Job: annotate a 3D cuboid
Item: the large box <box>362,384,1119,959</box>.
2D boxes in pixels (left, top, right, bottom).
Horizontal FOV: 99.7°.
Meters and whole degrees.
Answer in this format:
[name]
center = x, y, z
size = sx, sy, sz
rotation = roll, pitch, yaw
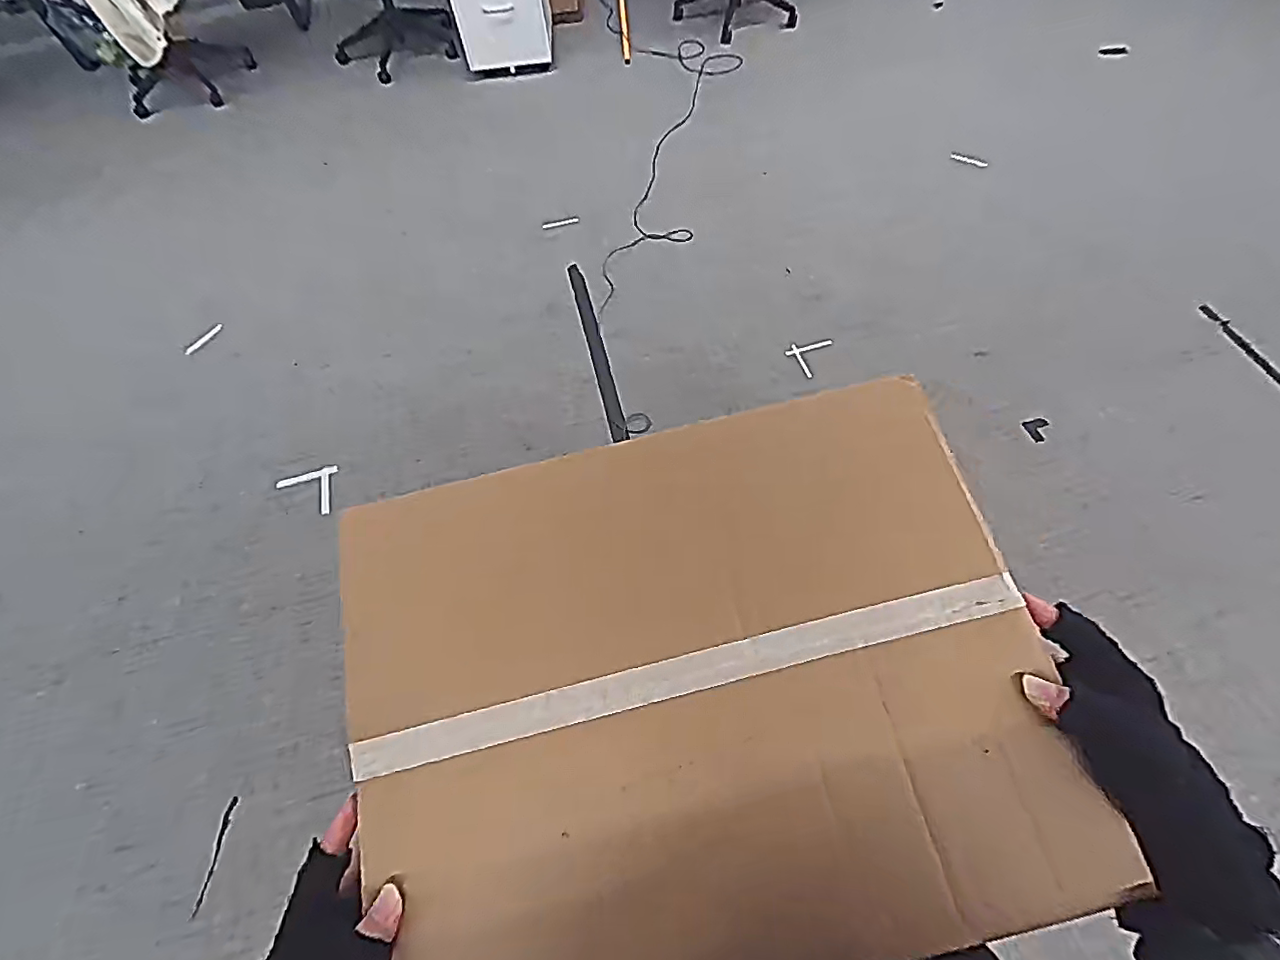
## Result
[large box]
center = 0.040, 0.168, 0.474
size = 0.408, 0.320, 0.320
rotation = -14, 72, -1
